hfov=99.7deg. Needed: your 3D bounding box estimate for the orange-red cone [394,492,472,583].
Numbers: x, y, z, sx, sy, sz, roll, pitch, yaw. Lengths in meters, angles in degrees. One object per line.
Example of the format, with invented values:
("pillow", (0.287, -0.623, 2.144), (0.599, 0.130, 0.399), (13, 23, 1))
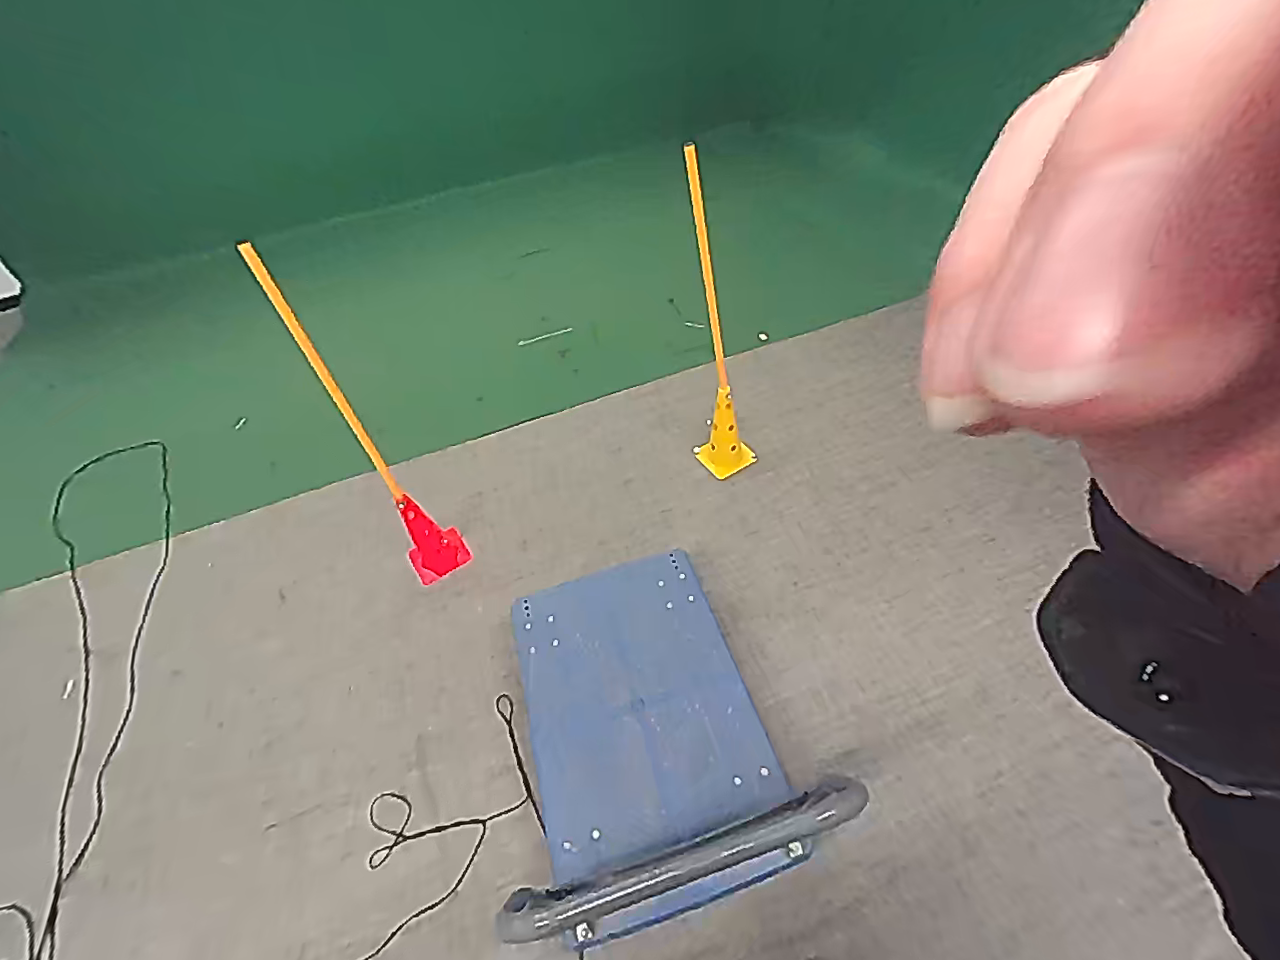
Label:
("orange-red cone", (-0.776, 0.172, 1.919), (0.199, 0.360, 0.198), (-32, 51, -17))
